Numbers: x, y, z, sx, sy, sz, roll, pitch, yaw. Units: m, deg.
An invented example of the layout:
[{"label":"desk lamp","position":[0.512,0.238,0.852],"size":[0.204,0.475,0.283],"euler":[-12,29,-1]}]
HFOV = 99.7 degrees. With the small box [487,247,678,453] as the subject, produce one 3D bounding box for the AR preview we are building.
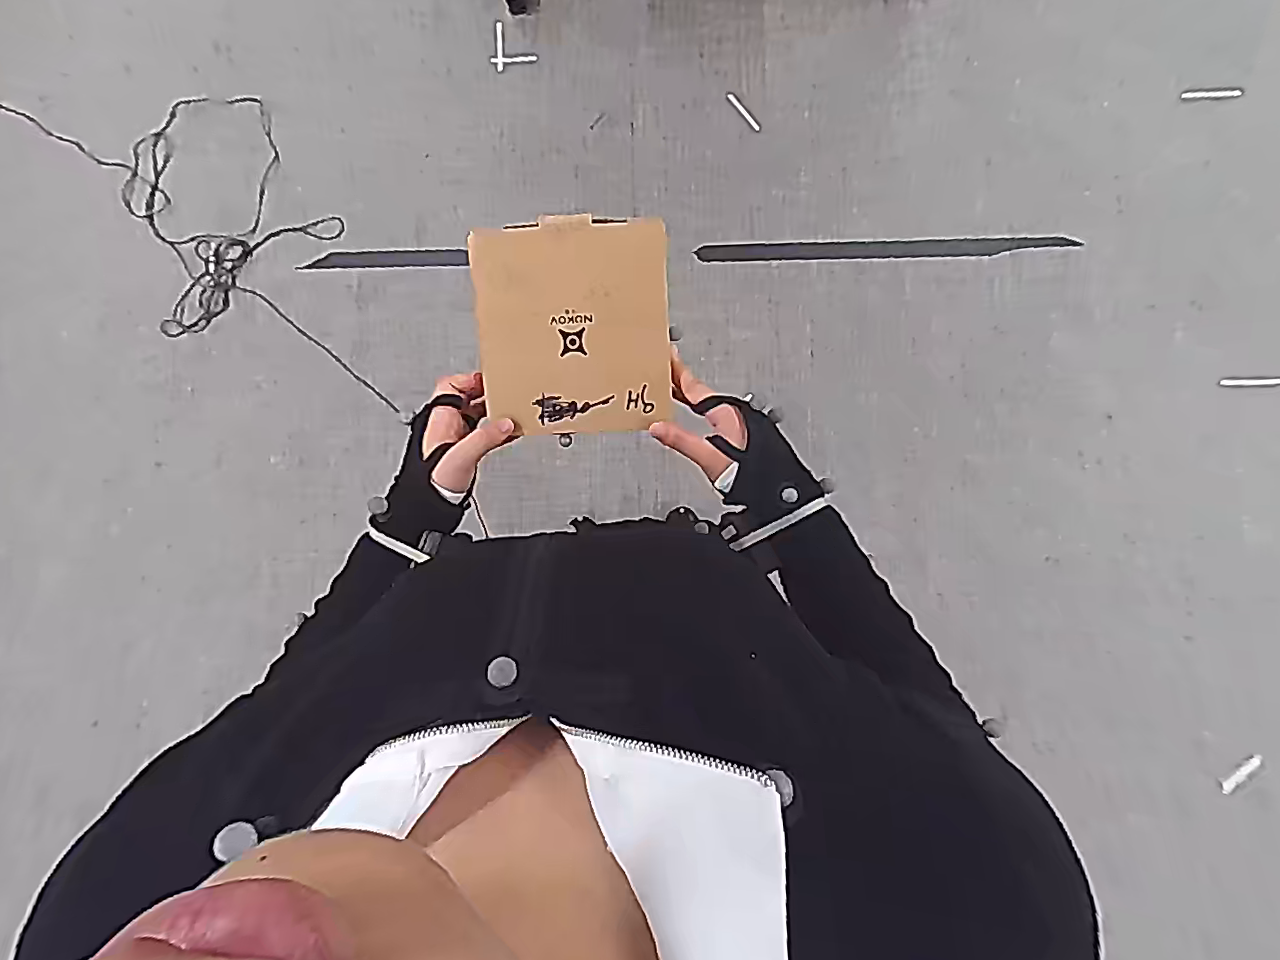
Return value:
[{"label":"small box","position":[-0.049,-0.126,0.559],"size":[0.168,0.176,0.179],"euler":[-2,101,2]}]
